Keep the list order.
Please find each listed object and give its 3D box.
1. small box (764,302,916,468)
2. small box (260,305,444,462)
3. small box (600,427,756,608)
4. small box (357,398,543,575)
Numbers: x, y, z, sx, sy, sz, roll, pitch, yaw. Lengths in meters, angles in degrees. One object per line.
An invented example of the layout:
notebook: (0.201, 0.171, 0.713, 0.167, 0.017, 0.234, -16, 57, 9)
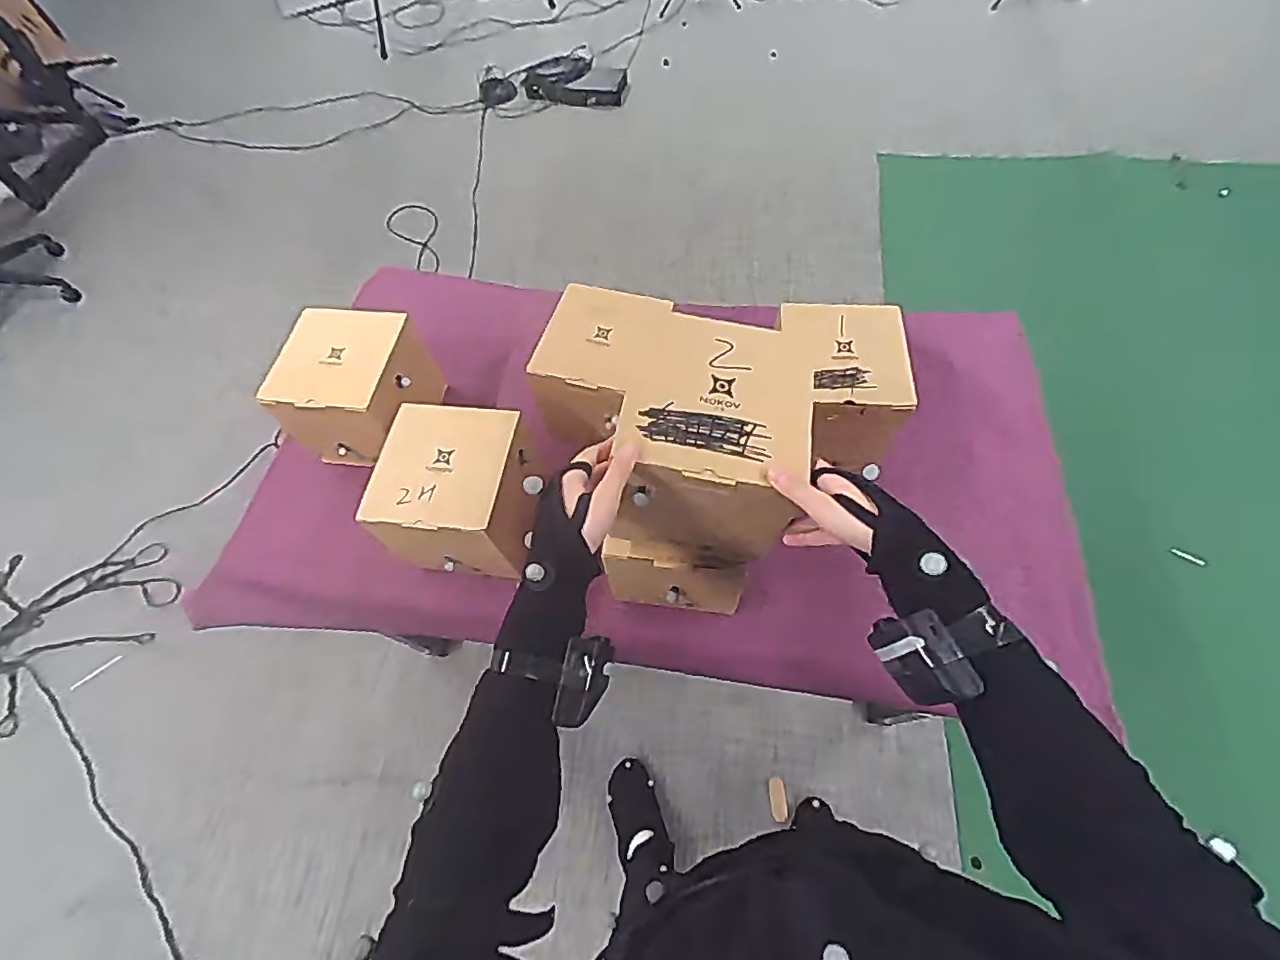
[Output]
small box: (0.275, -0.131, 0.783, 0.168, 0.176, 0.179, 4, 61, 6)
small box: (-0.425, -0.142, 0.837, 0.168, 0.176, 0.179, 5, 63, 6)
small box: (0.054, 0.055, 0.697, 0.168, 0.176, 0.179, 6, 62, 7)
small box: (-0.240, 0.013, 0.738, 0.168, 0.176, 0.179, 5, 62, 7)
